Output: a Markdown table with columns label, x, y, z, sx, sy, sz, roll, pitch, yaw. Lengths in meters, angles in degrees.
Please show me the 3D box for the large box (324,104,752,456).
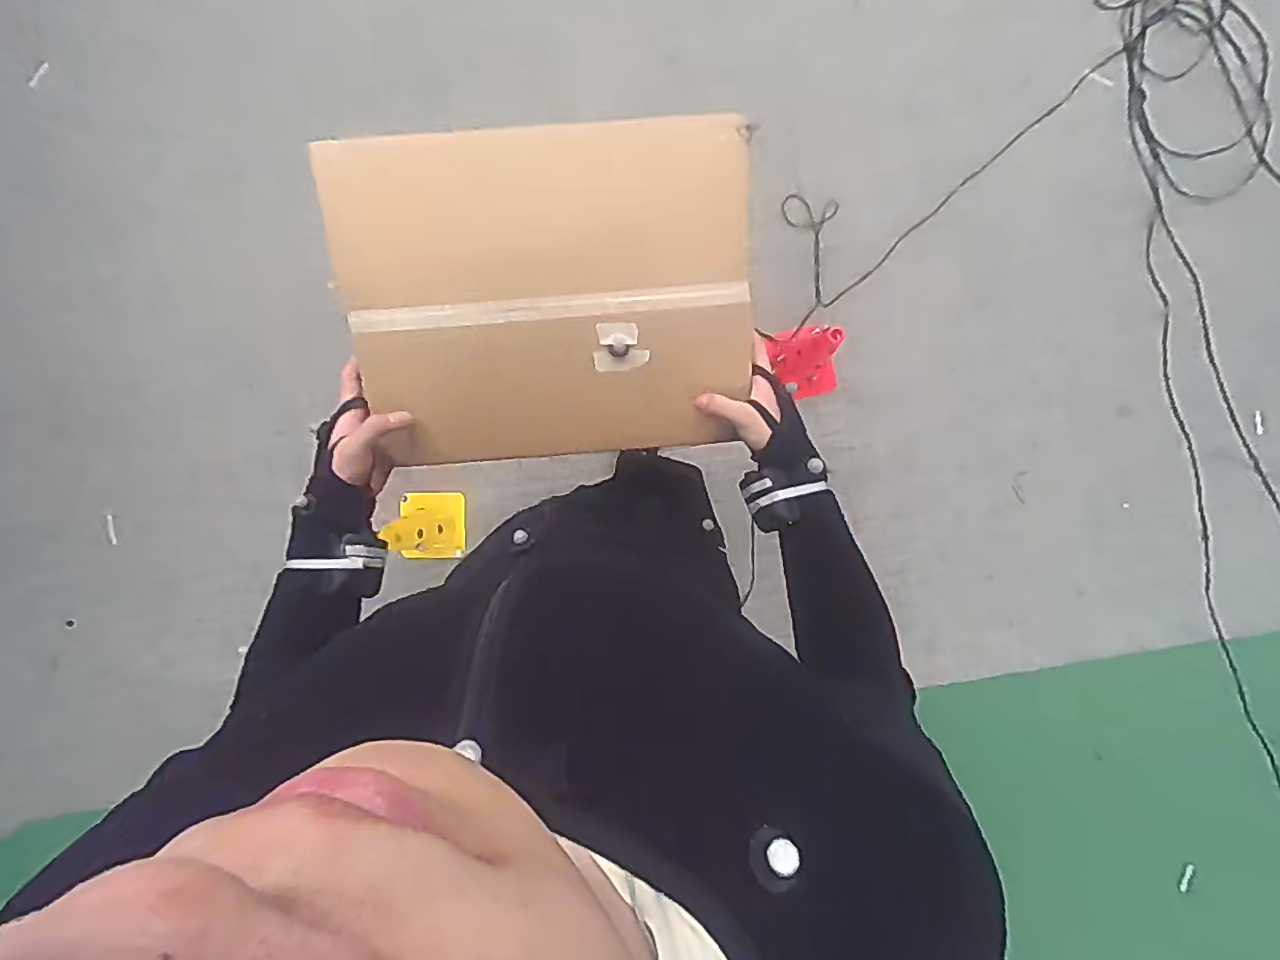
| label | x | y | z | sx | sy | sz | roll | pitch | yaw |
| --- | --- | --- | --- | --- | --- | --- | --- | --- | --- |
| large box | -0.094 | -0.237 | 0.692 | 0.408 | 0.320 | 0.320 | -5 | 110 | -2 |
